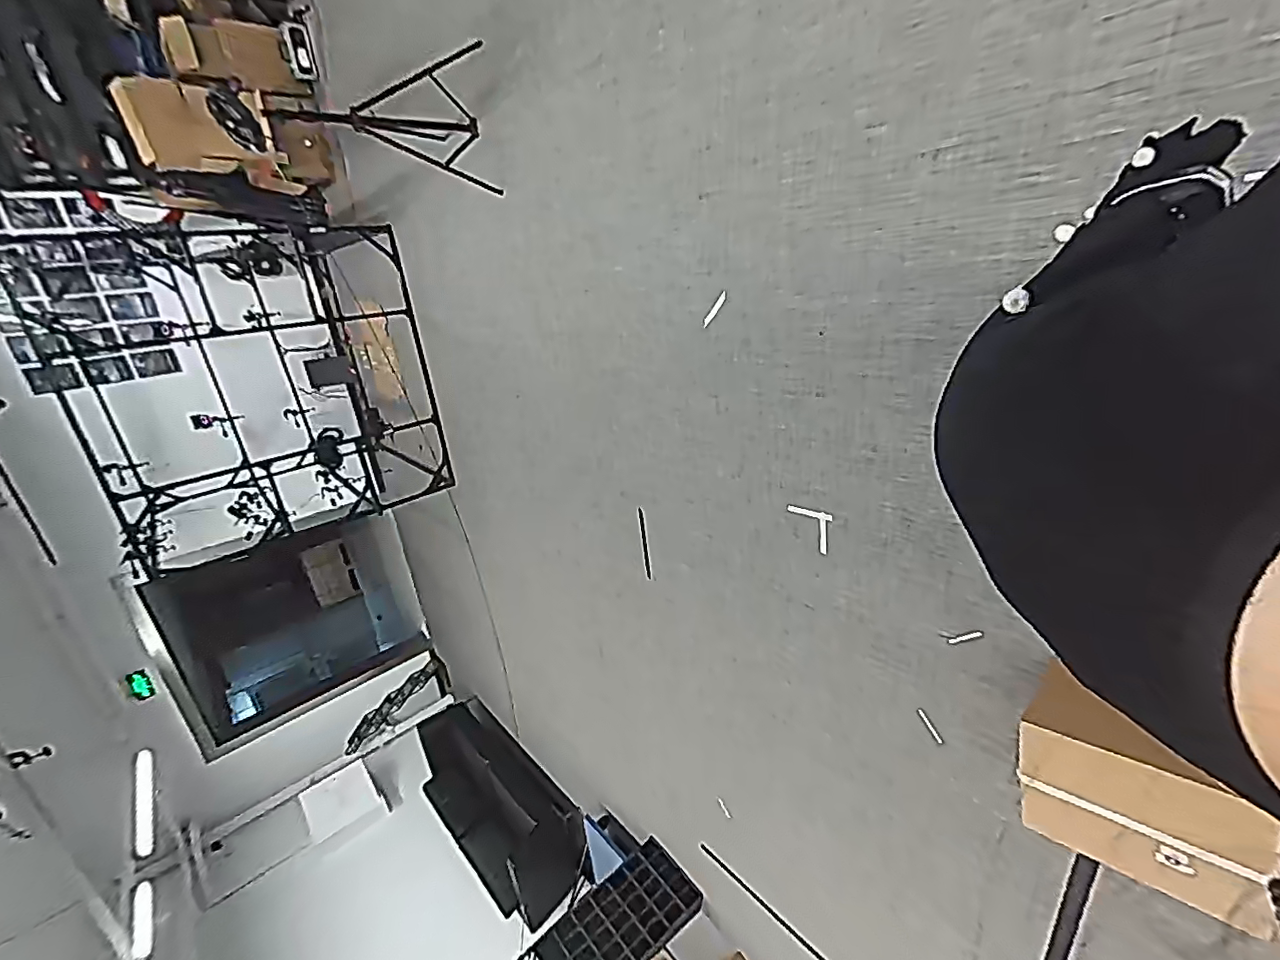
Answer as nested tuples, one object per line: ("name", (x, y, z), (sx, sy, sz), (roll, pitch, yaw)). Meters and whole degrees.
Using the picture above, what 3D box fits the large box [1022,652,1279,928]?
("large box", (1.141, 0.642, 1.215), (0.408, 0.320, 0.320), (7, 113, 50))
